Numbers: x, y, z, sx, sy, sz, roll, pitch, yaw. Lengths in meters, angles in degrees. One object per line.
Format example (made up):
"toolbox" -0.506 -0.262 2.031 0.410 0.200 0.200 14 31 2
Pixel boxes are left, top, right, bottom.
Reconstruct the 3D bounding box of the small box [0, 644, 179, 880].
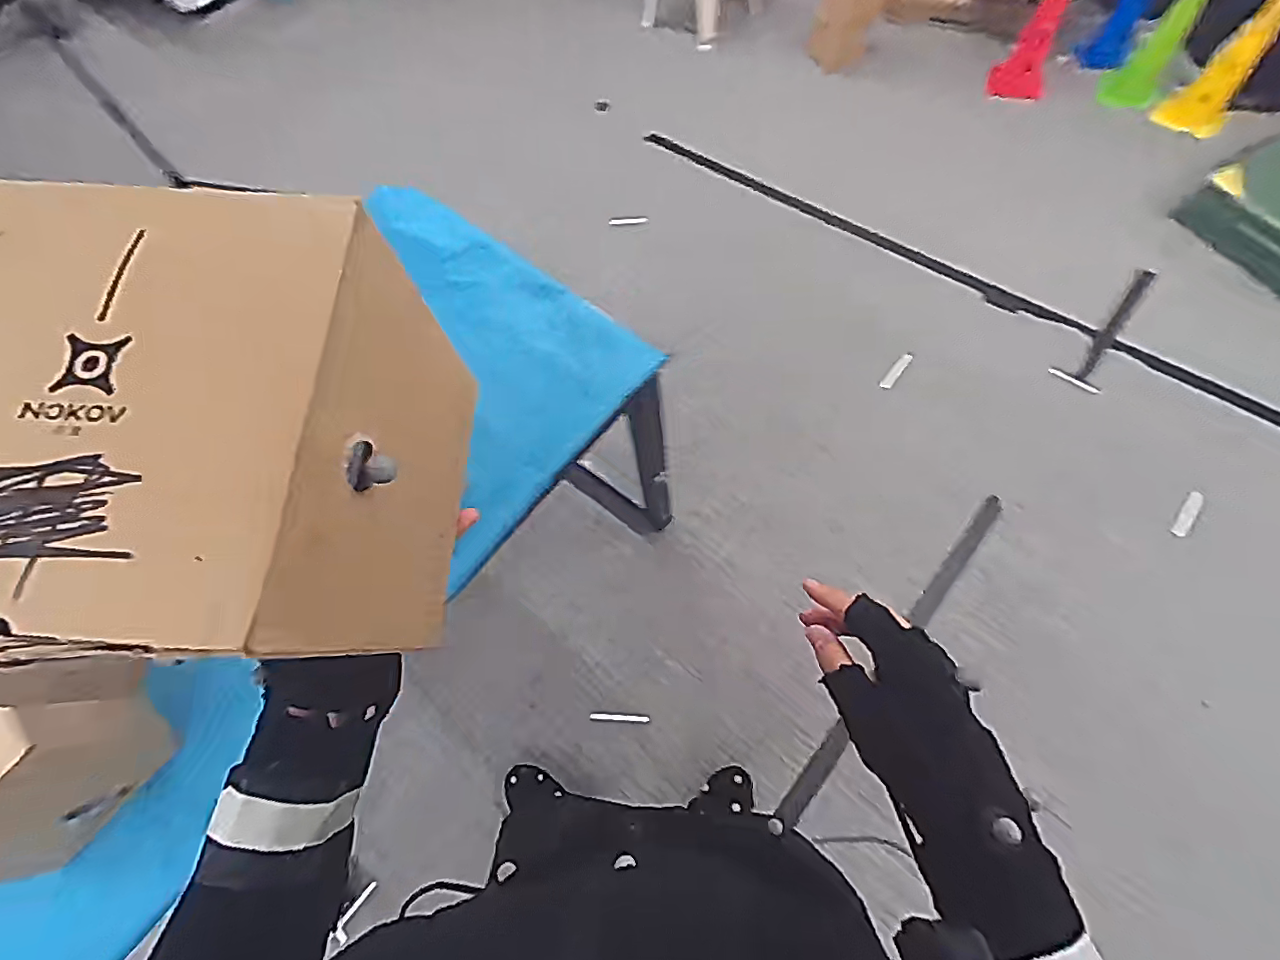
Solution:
"small box" -0.675 0.307 0.588 0.179 0.176 0.168 38 75 18

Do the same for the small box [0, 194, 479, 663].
"small box" -0.193 -0.008 0.272 0.168 0.176 0.179 3 73 2
